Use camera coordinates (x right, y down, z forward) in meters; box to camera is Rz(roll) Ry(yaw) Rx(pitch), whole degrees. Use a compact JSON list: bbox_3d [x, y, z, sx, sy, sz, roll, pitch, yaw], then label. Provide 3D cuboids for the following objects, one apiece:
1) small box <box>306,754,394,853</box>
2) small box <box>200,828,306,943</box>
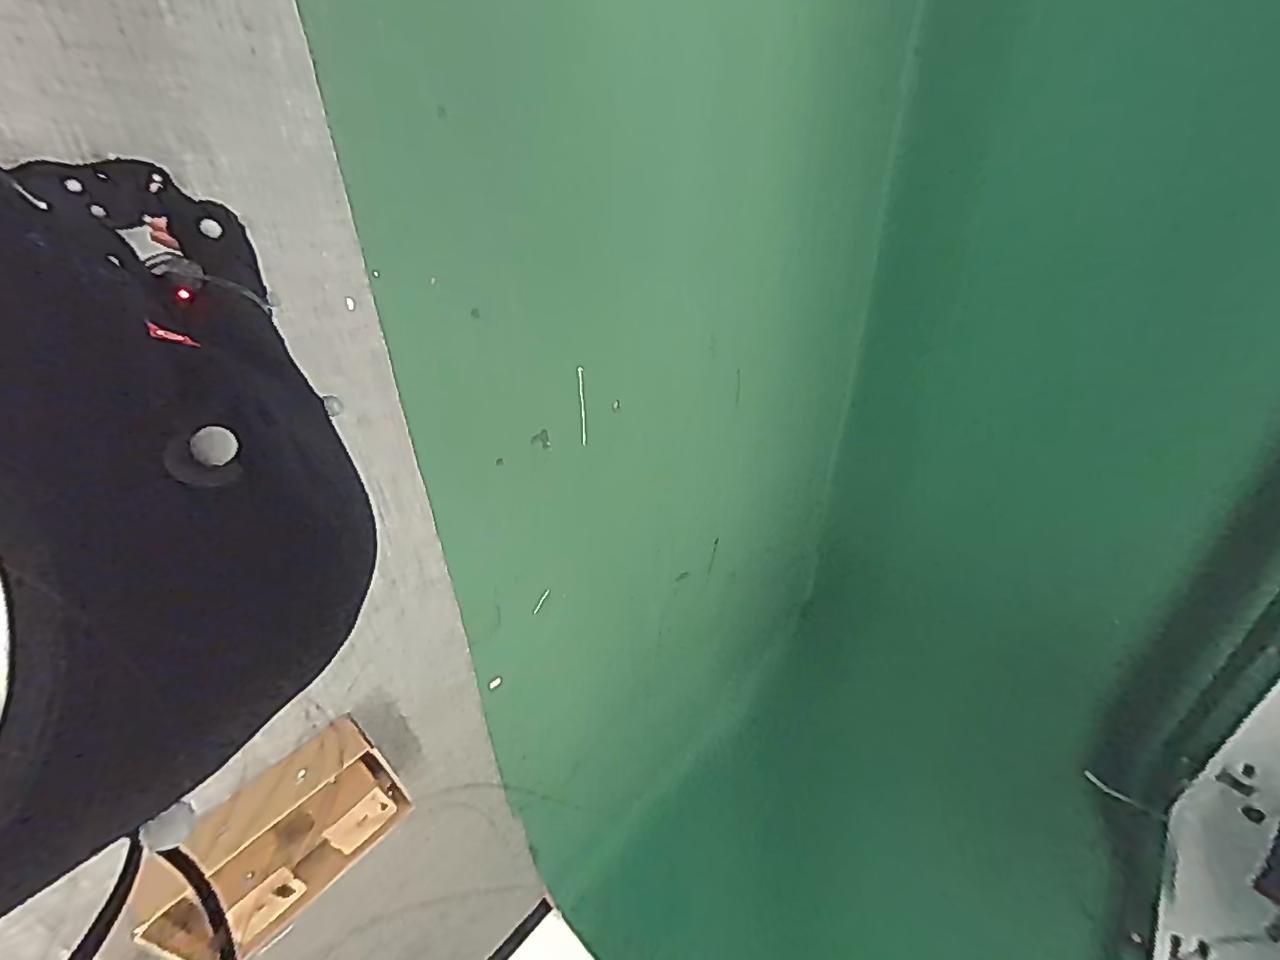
[{"bbox_3d":[-0.920,1.015,1.706,0.179,0.176,0.168,-37,136,-31],"label":"small box"},{"bbox_3d":[-1.108,1.152,1.548,0.179,0.176,0.168,-35,134,-36],"label":"small box"}]
